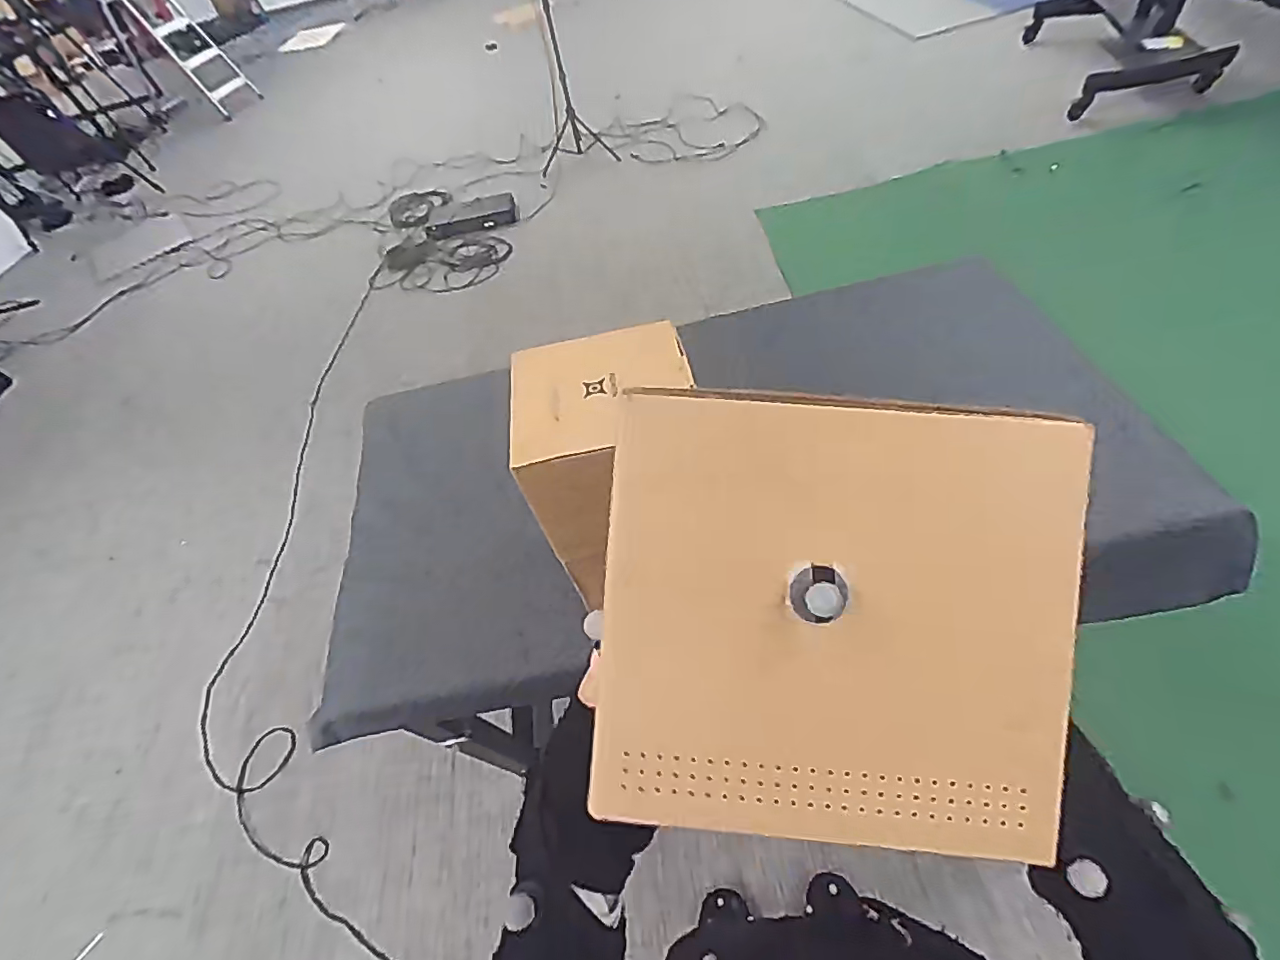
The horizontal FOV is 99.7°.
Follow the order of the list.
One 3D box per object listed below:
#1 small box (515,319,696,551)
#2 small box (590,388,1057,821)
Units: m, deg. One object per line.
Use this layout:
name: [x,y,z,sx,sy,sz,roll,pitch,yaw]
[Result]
small box: [-0.025,-0.043,0.591,0.179,0.176,0.168,-12,51,3]
small box: [0.074,0.051,0.293,0.179,0.168,0.176,4,90,1]
